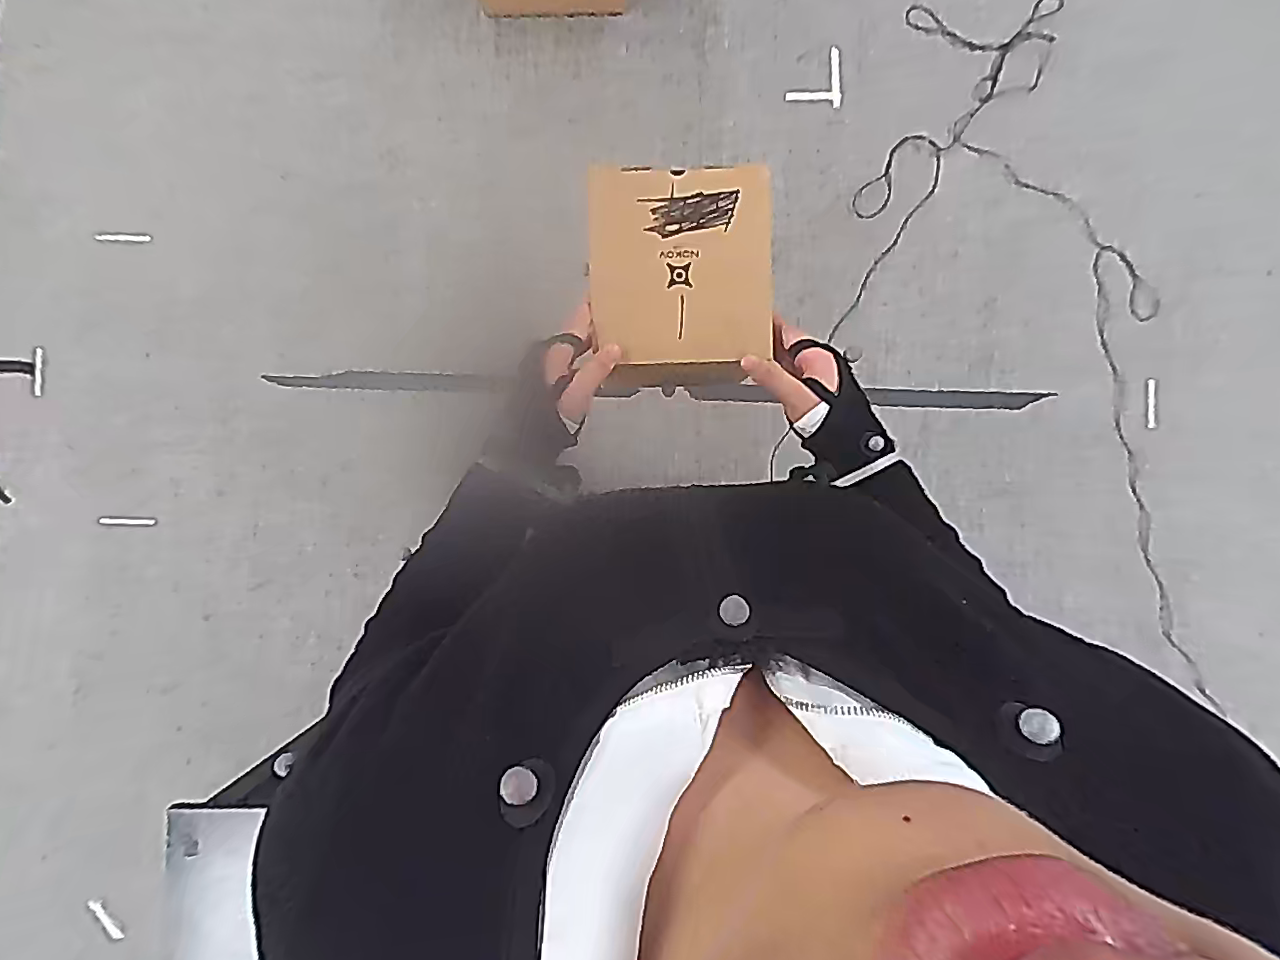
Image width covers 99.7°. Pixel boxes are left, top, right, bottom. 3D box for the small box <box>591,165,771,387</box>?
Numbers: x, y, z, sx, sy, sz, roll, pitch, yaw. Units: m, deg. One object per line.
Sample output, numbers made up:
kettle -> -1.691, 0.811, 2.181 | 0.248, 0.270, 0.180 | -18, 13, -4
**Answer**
small box -> 0.035, -0.199, 0.569 | 0.168, 0.176, 0.179 | -2, 92, -1
